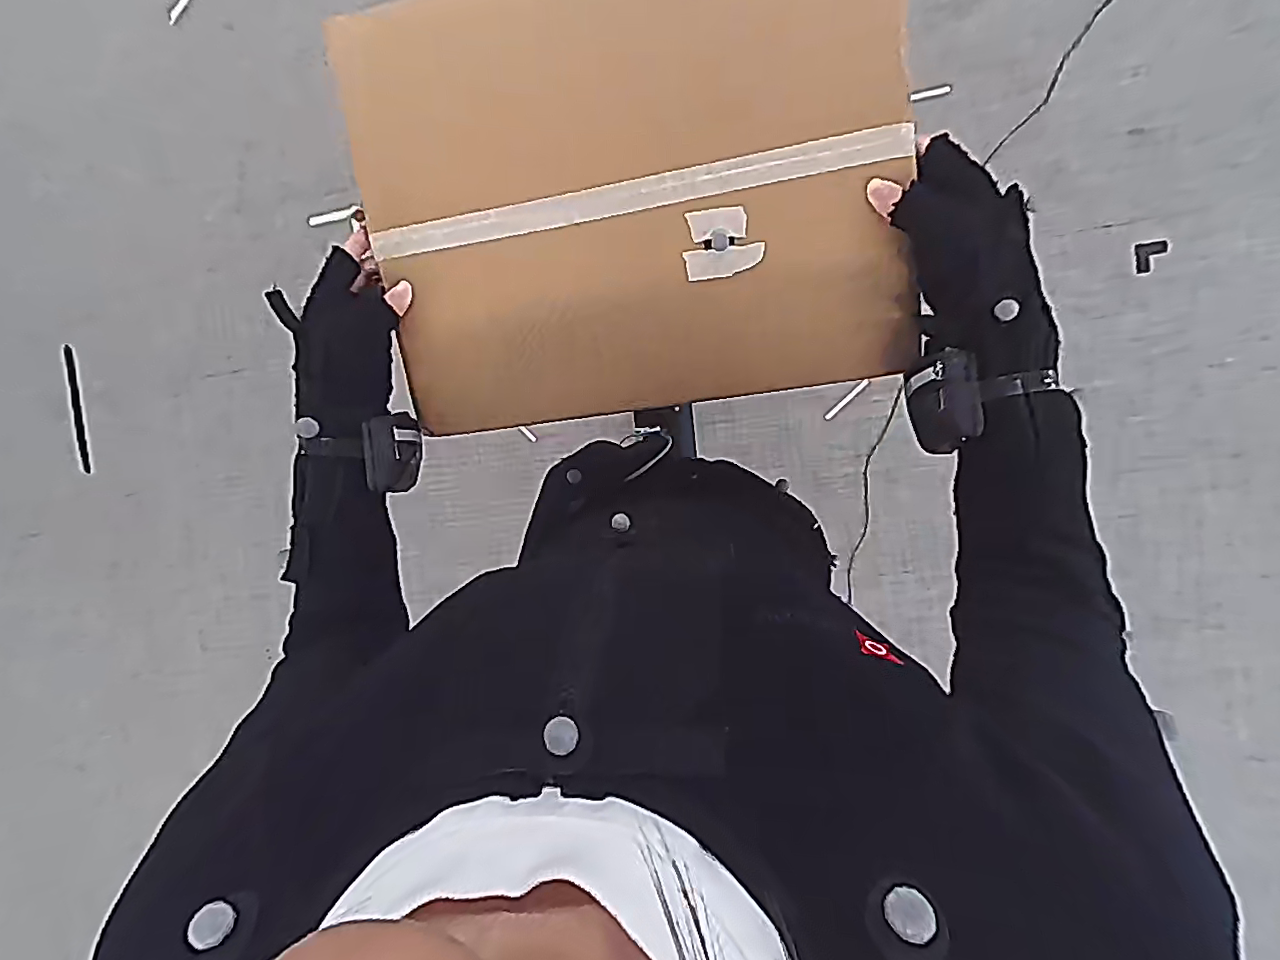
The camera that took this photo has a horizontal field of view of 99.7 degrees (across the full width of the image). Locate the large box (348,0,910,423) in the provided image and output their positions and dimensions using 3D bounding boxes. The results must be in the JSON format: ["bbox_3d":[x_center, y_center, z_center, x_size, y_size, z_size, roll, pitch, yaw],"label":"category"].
[{"bbox_3d":[0.007,-0.256,0.559,0.408,0.320,0.320,-7,104,9],"label":"large box"}]
